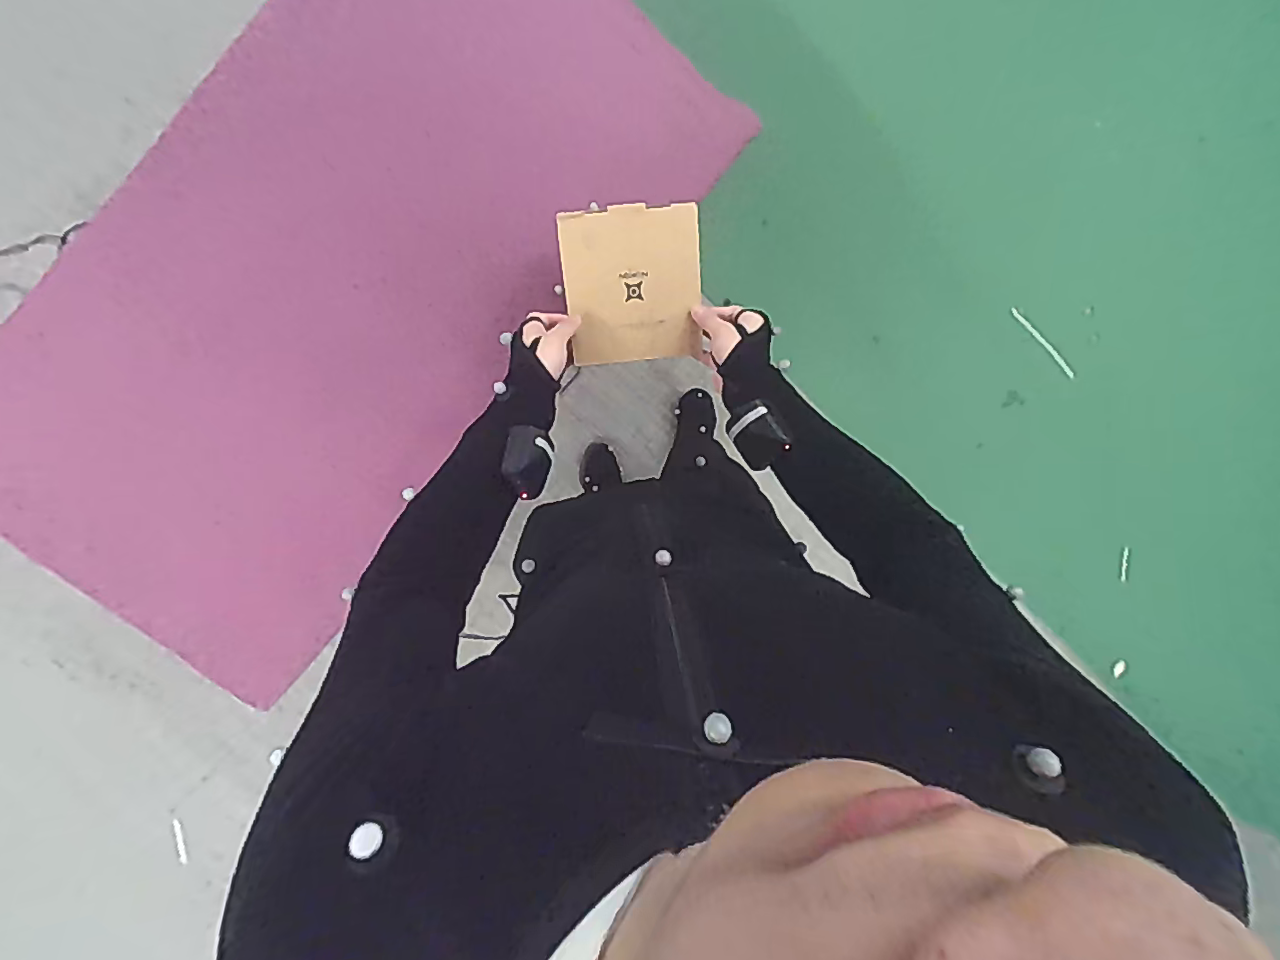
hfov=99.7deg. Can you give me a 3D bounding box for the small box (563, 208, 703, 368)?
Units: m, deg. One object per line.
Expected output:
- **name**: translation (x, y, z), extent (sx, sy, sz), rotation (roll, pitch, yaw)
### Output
- **small box**: translation (-0.013, -0.255, 0.726), extent (0.168, 0.176, 0.179), rotation (-5, 112, -3)
